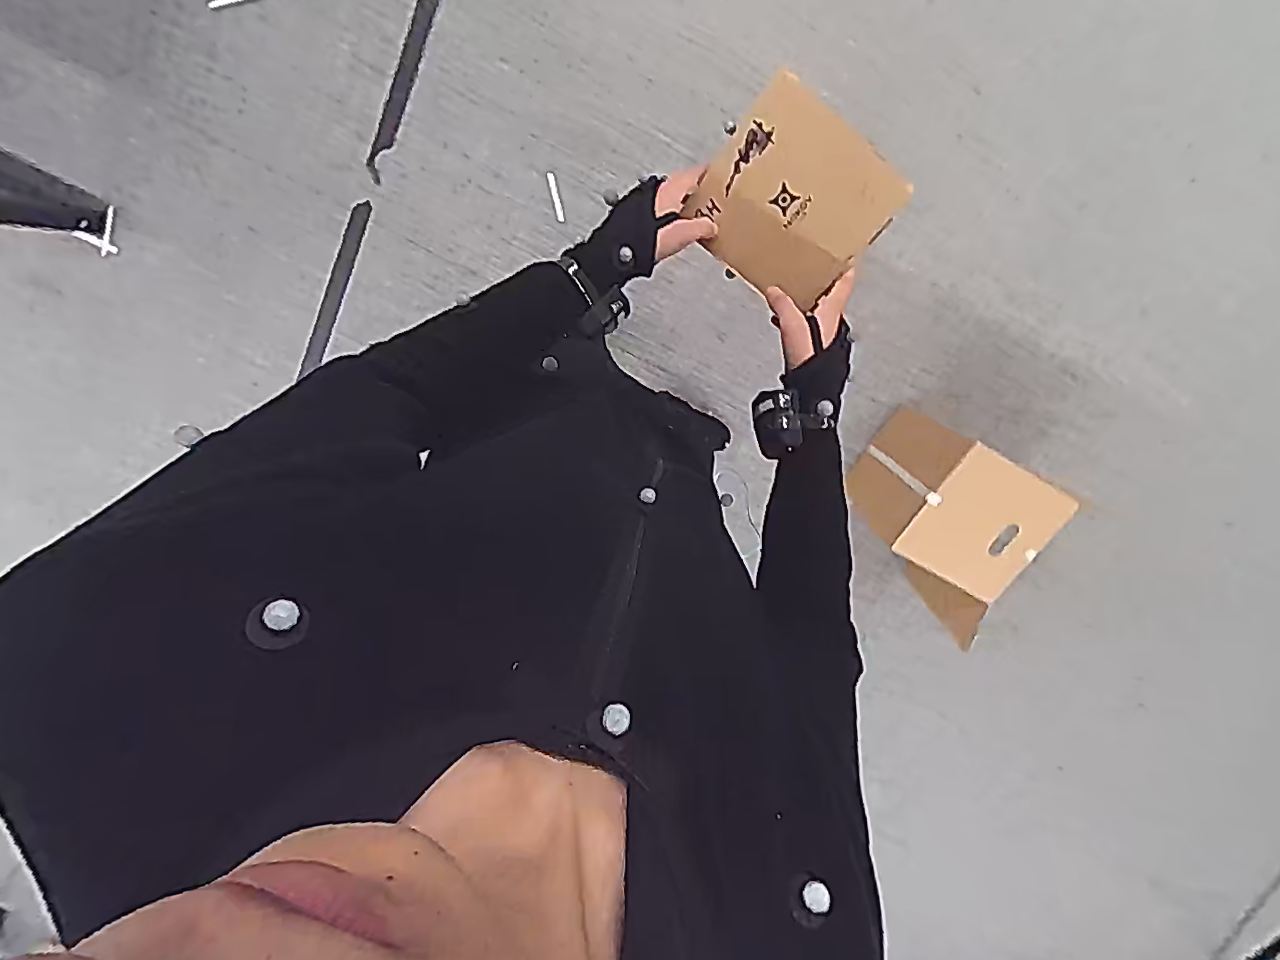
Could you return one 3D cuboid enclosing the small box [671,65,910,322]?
[{"bbox_3d":[0.160,-0.311,0.608,0.179,0.176,0.168,38,117,-9],"label":"small box"}]
